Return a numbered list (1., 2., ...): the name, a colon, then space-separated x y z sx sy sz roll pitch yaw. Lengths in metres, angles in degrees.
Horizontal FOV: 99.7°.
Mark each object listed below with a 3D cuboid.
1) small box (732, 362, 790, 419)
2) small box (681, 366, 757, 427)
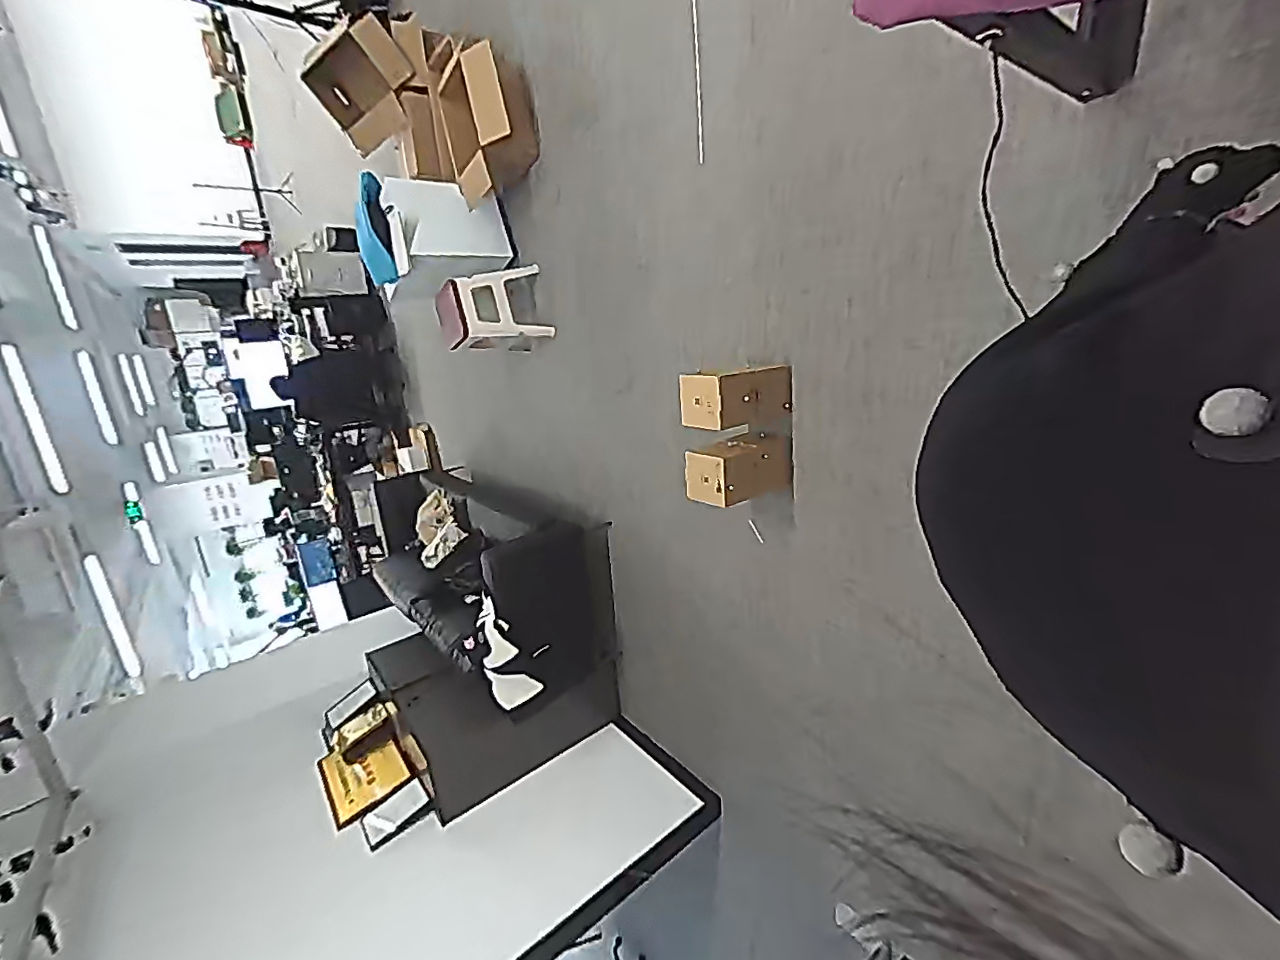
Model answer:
1. small box: 0.385 -0.305 1.811 0.179 0.176 0.168 15 115 51
2. small box: 0.252 -0.271 1.720 0.179 0.176 0.168 16 116 50
